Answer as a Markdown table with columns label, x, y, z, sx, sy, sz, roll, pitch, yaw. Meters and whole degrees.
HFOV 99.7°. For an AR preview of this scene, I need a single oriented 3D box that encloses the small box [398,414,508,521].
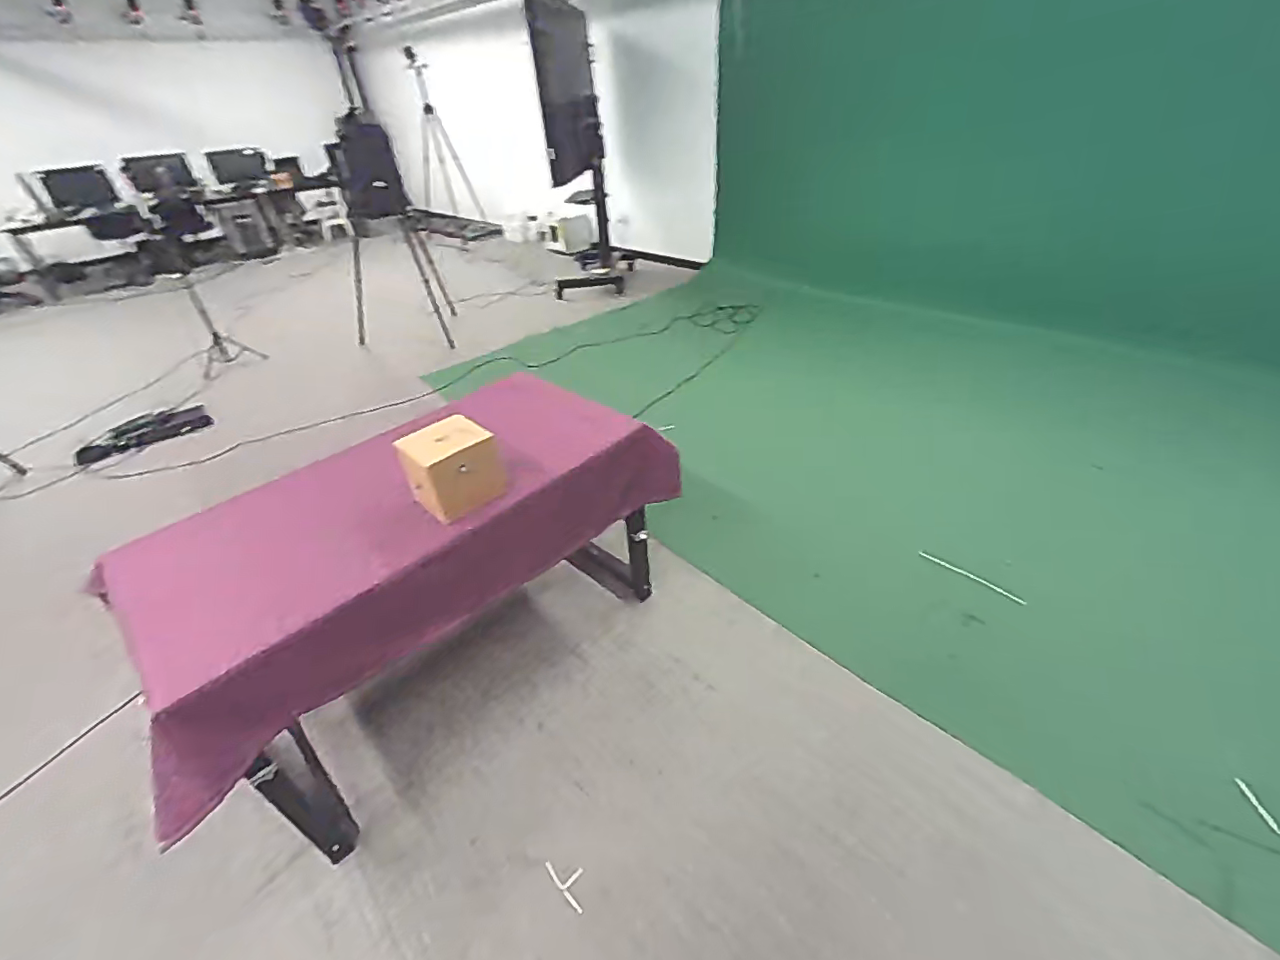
| label | x | y | z | sx | sy | sz | roll | pitch | yaw |
| --- | --- | --- | --- | --- | --- | --- | --- | --- | --- |
| small box | -0.444 | -0.031 | 1.303 | 0.179 | 0.176 | 0.168 | -32 | 45 | -32 |
